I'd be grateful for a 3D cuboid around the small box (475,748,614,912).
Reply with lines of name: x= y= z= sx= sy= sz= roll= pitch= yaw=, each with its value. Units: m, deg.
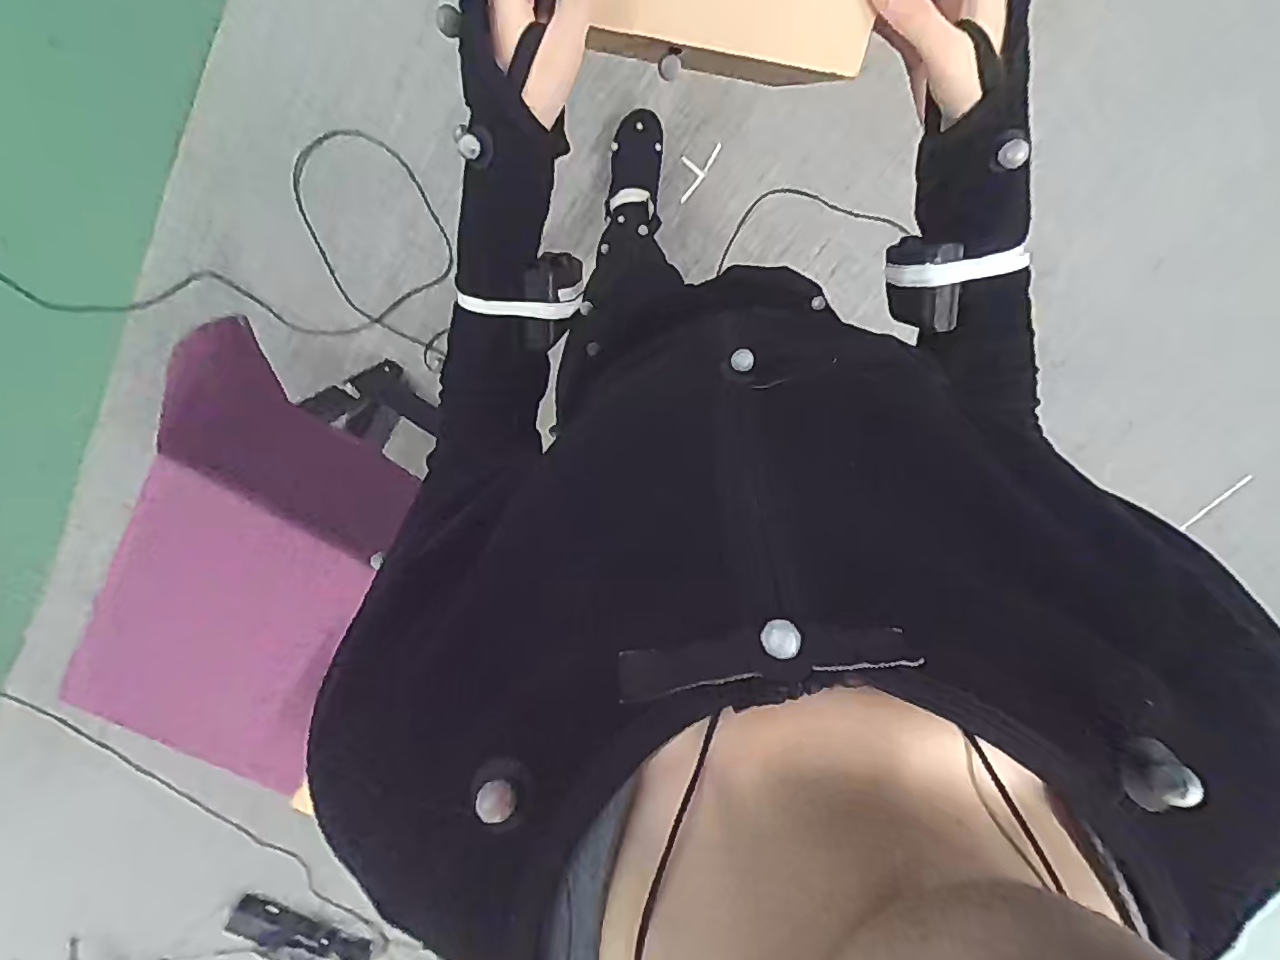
small box: x=-0.162 y=0.632 z=0.988 sx=0.168 sy=0.176 sz=0.179 roll=-39 pitch=108 yaw=17
